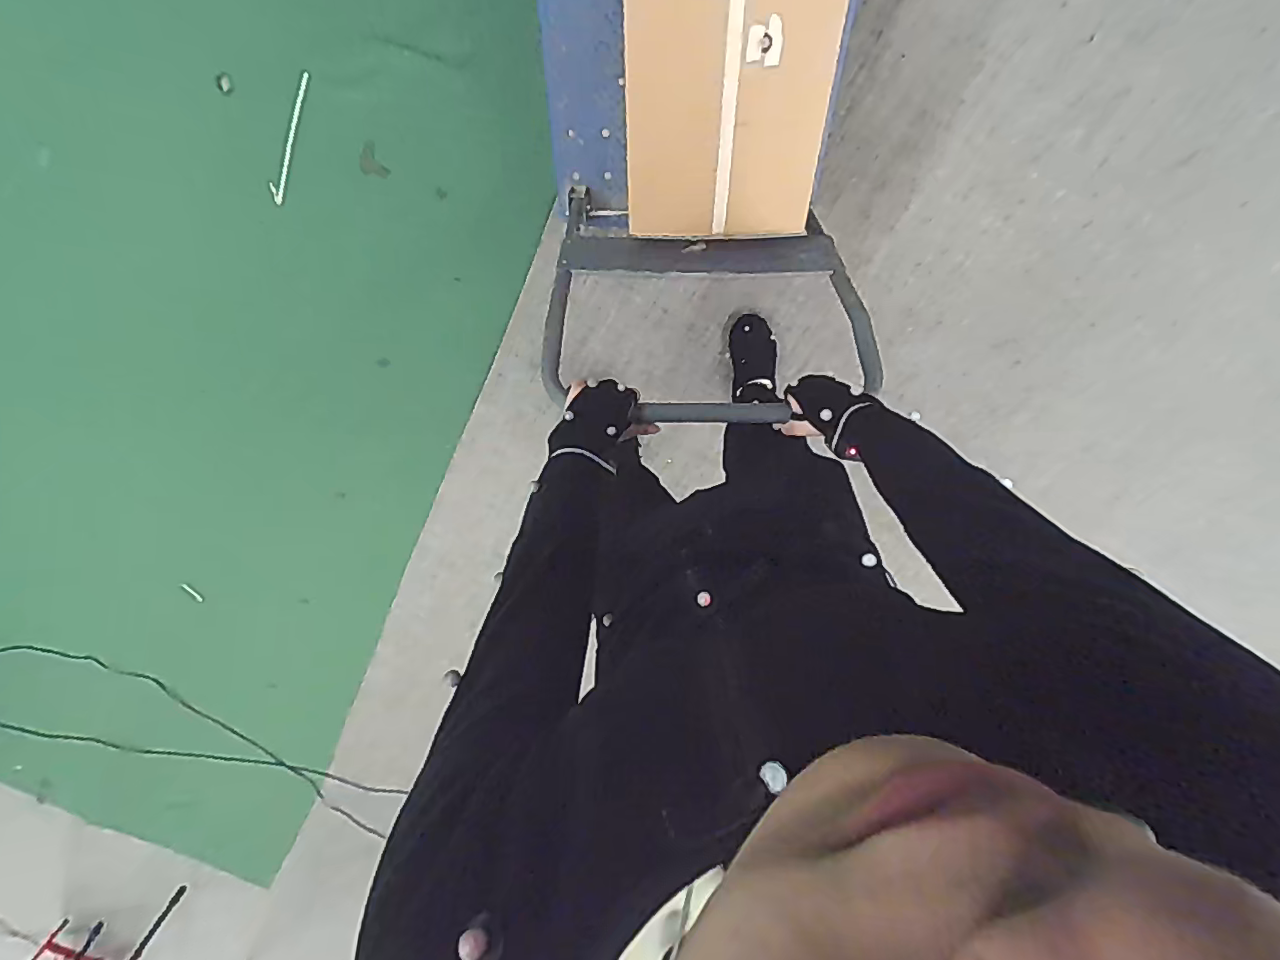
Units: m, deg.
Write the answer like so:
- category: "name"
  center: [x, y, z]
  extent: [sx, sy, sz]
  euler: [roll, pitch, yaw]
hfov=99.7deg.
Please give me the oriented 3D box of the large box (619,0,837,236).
- category: "large box"
  center: [0.130, -0.690, 0.955]
  extent: [0.320, 0.320, 0.408]
  euler: [0, 133, 1]
